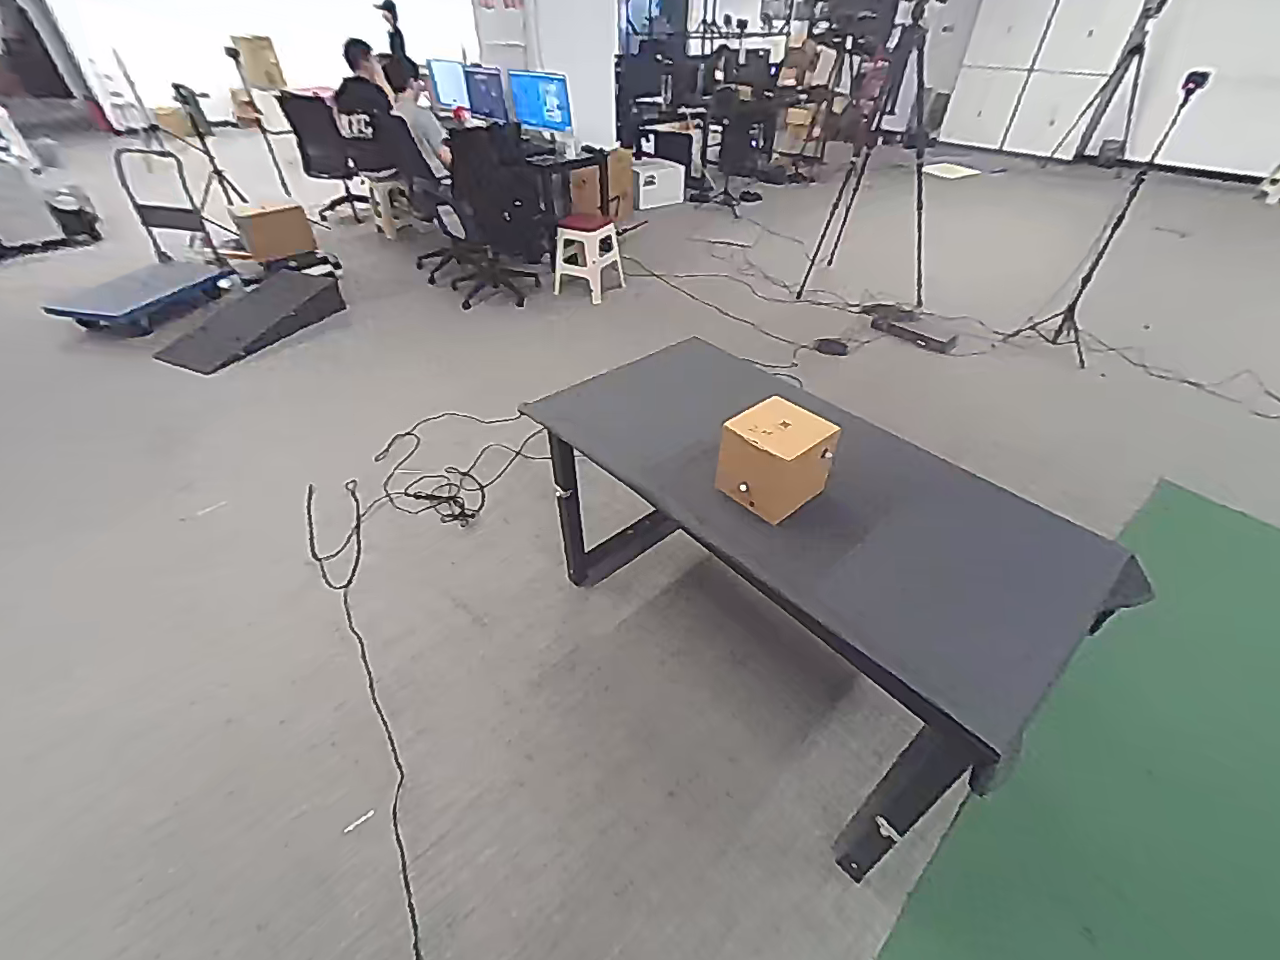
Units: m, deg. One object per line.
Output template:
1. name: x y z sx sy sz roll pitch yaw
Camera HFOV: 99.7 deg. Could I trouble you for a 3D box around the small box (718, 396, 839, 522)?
1. small box: 0.280 -0.046 1.132 0.179 0.176 0.168 -29 49 -31
